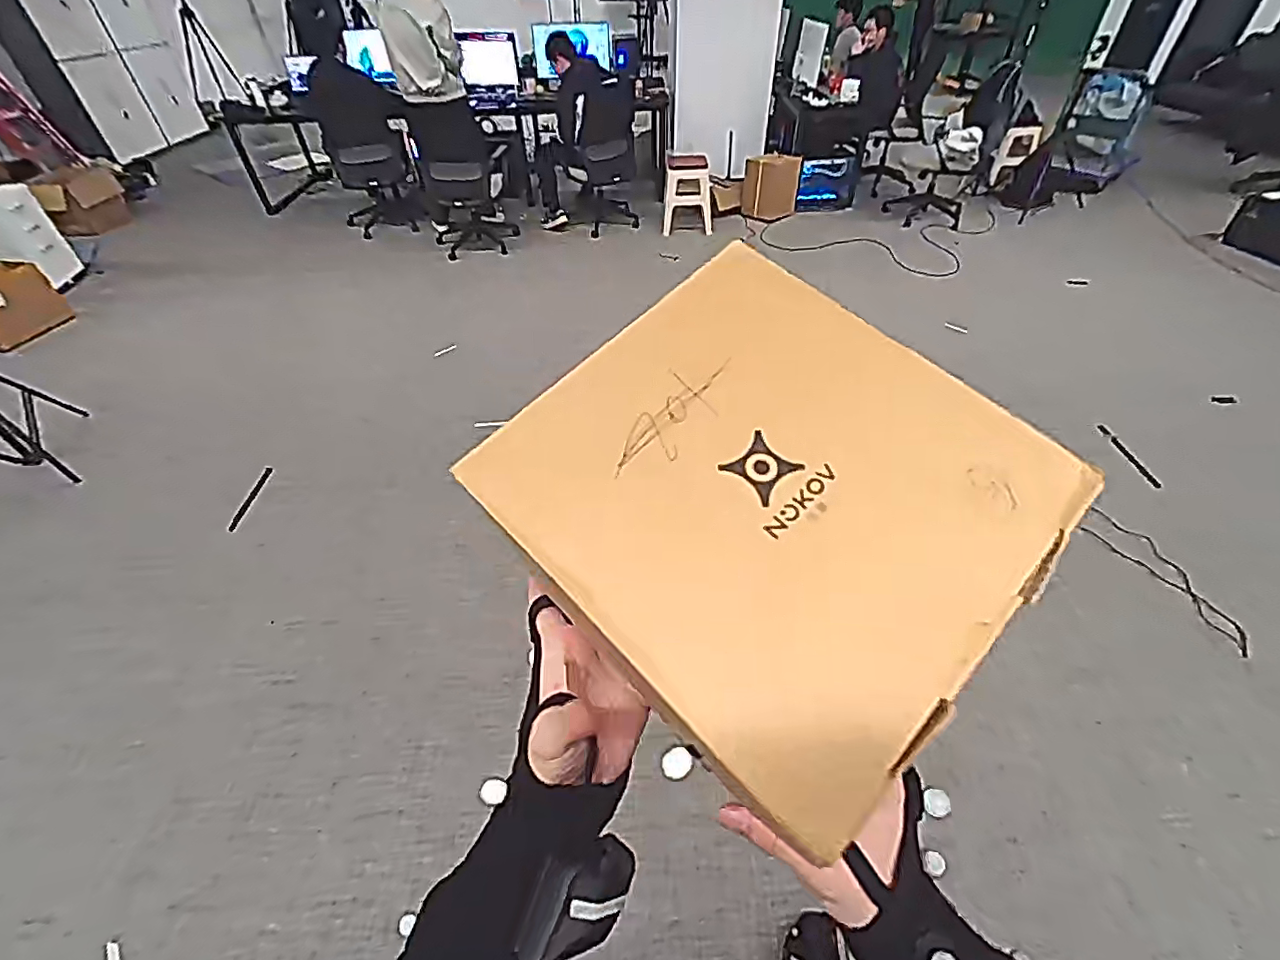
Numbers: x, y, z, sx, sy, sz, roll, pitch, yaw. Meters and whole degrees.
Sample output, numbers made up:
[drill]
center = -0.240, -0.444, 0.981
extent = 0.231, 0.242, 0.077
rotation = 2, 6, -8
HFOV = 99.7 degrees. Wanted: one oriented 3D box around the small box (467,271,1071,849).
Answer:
[small box]
center = 0.050, 0.039, 0.281
extent = 0.179, 0.176, 0.168
rotation = 41, 71, 19
